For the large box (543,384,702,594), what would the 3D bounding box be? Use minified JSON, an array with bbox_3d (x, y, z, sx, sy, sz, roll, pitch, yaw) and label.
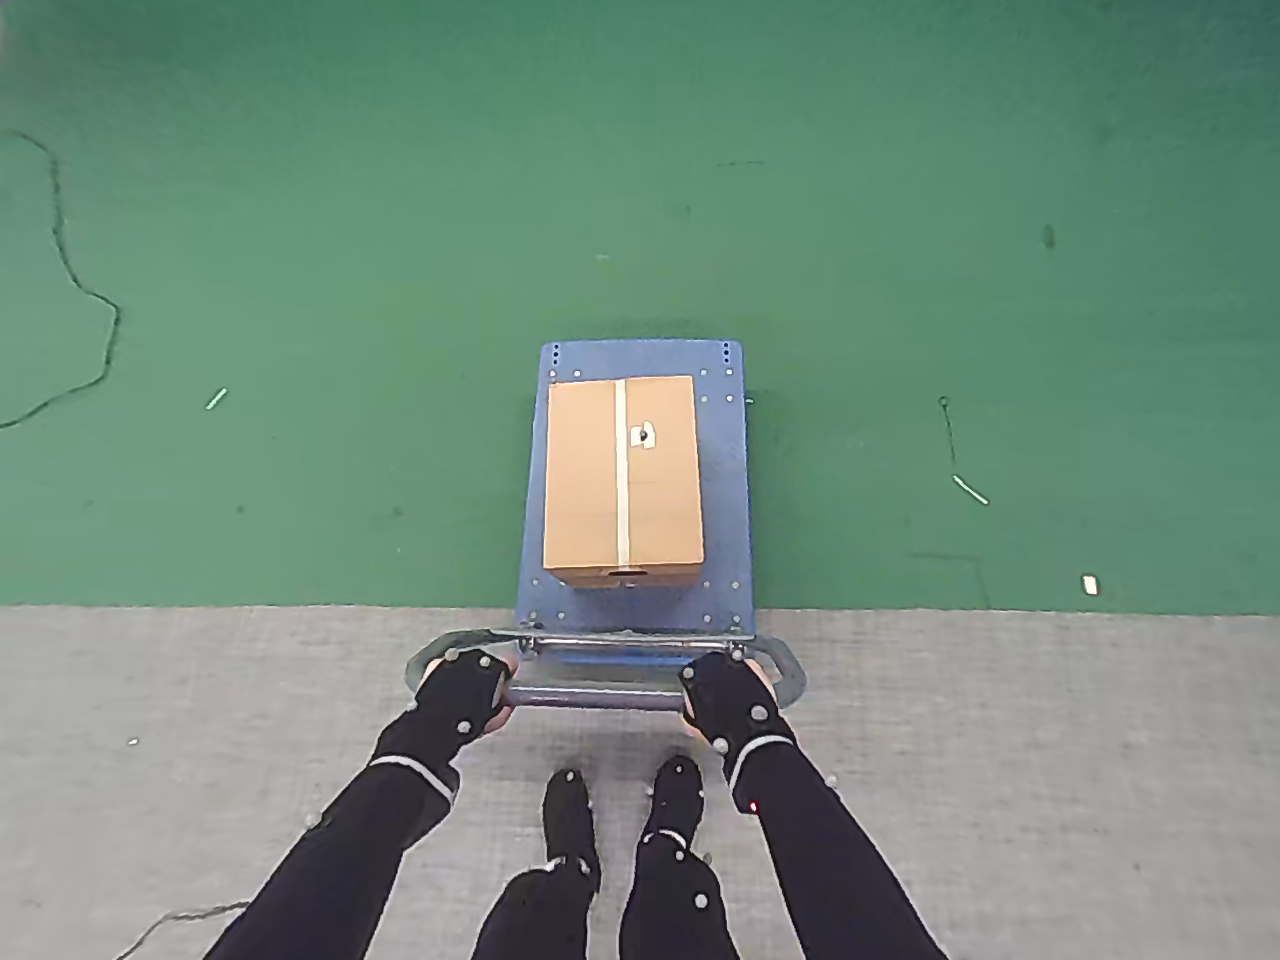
[{"bbox_3d":[-0.032,0.038,1.246,0.320,0.320,0.408,-3,72,3],"label":"large box"}]
